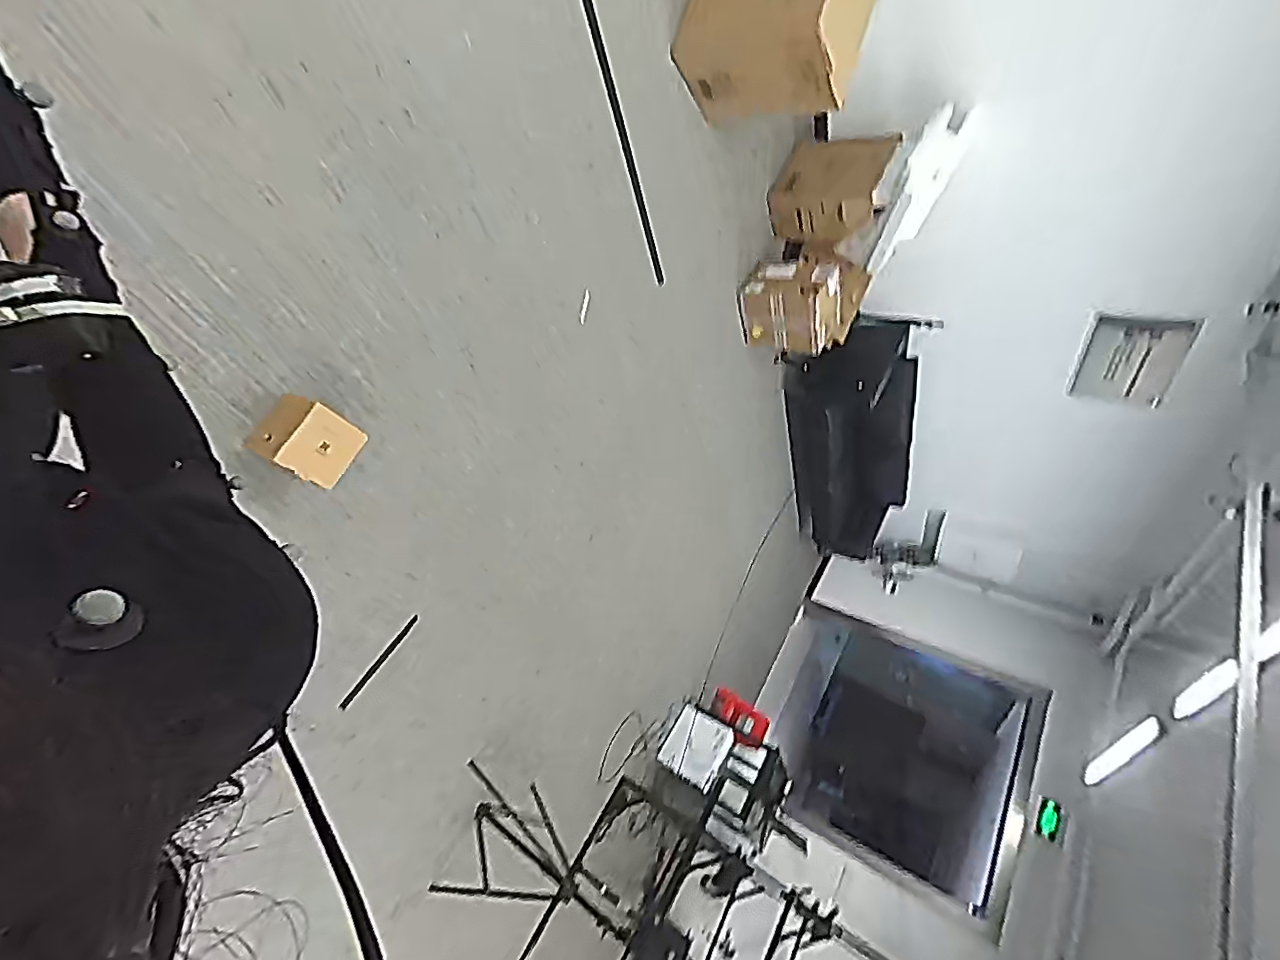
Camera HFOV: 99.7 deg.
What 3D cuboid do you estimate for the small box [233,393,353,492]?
[{"bbox_3d":[-0.890,-0.099,1.381,0.179,0.176,0.168,-63,148,-17],"label":"small box"}]
